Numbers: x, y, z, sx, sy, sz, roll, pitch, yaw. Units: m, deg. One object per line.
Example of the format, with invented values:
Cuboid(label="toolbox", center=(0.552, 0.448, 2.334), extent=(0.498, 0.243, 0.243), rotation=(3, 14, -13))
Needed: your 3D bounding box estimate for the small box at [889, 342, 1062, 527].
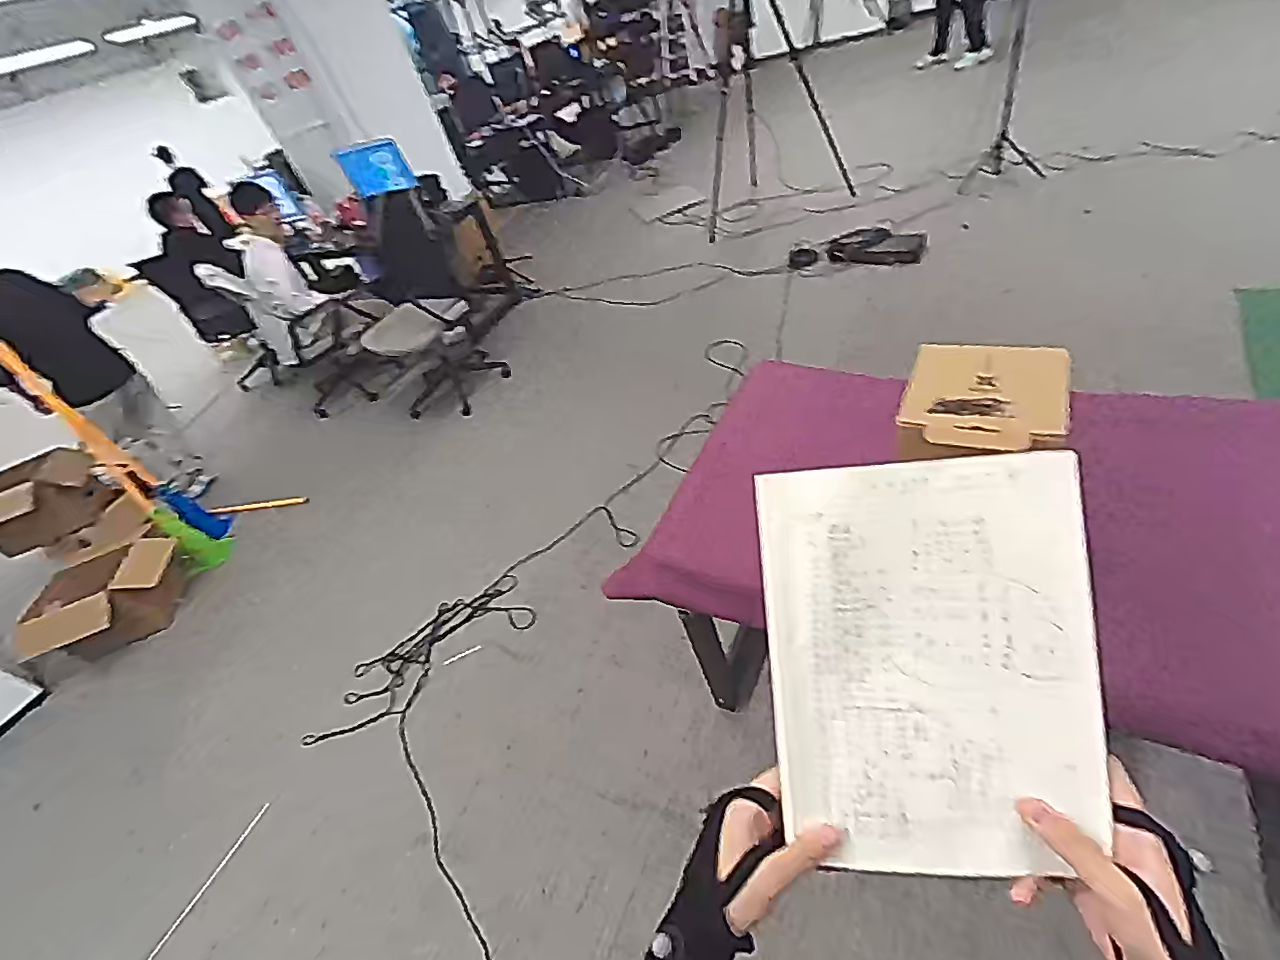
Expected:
Cuboid(label="small box", center=(0.435, -0.062, 0.717), extent=(0.168, 0.176, 0.179), rotation=(11, 50, 31))
